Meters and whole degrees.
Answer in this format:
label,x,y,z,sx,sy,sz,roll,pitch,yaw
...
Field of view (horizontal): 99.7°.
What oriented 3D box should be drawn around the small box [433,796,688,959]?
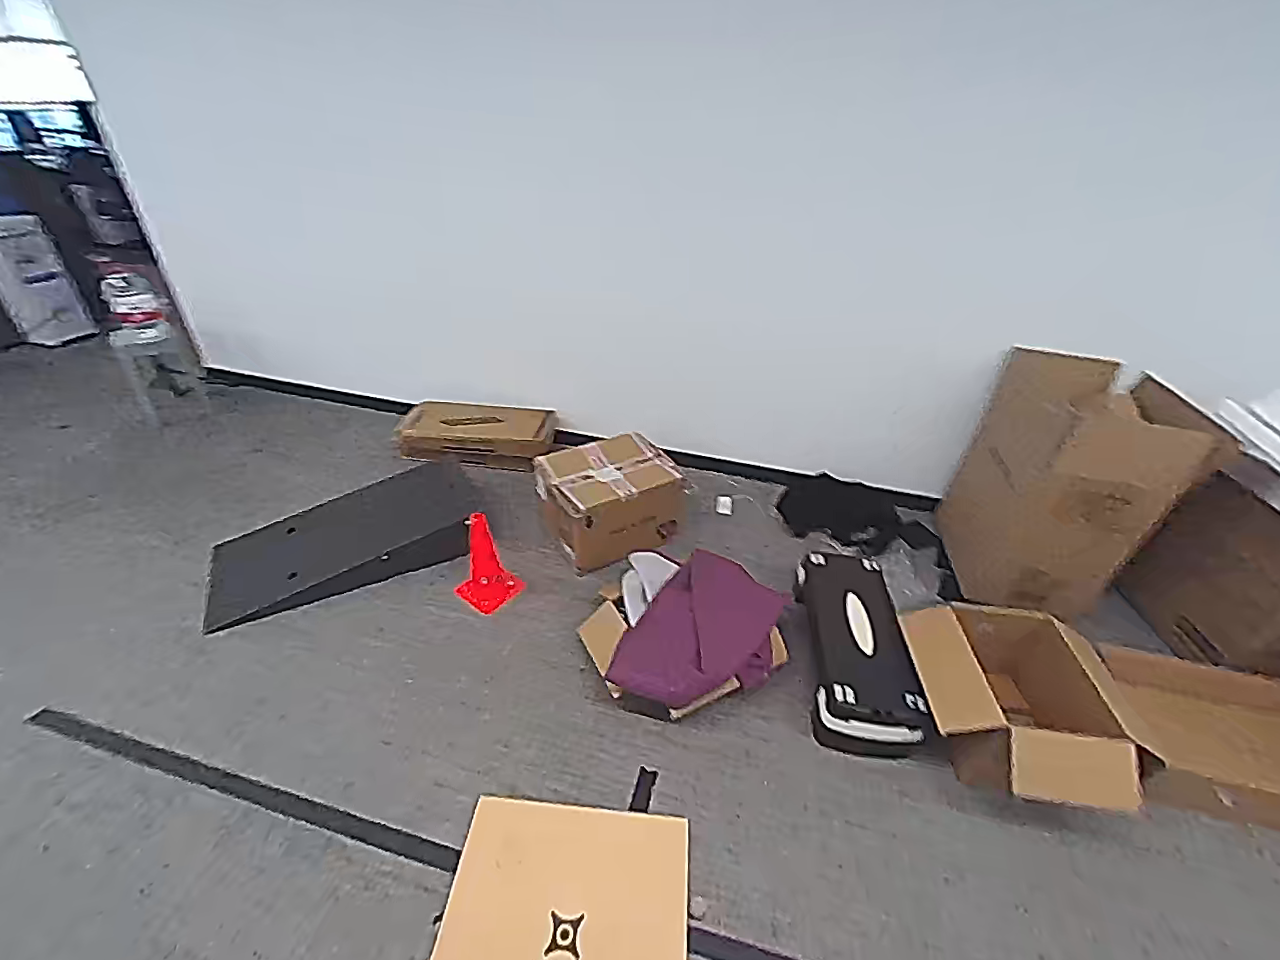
label,x,y,z,sx,sy,sz,roll,pitch,yaw
small box,-0.054,0.371,0.402,0.168,0.176,0.179,3,37,3
